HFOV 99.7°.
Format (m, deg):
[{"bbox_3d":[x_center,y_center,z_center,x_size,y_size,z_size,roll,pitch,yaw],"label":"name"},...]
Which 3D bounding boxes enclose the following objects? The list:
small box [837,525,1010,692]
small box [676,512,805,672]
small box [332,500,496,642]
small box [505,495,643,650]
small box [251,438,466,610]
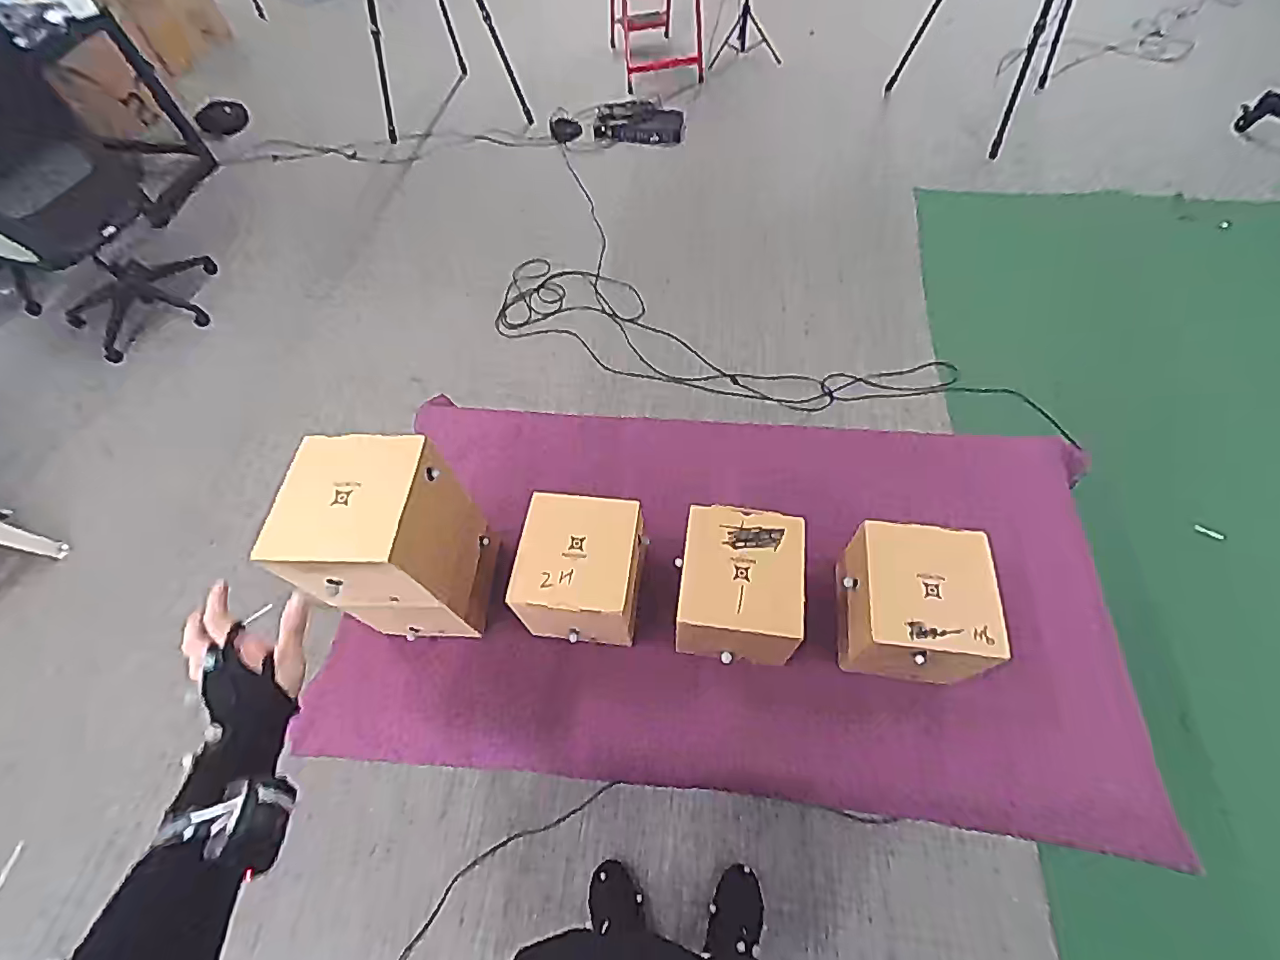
[{"bbox_3d":[0.386,0.187,0.775,0.168,0.176,0.179,6,59,8],"label":"small box"},{"bbox_3d":[0.144,0.170,0.804,0.168,0.176,0.179,6,60,8],"label":"small box"},{"bbox_3d":[-0.338,0.144,0.852,0.168,0.176,0.179,0,59,5],"label":"small box"},{"bbox_3d":[-0.089,0.146,0.834,0.168,0.176,0.179,5,60,7],"label":"small box"},{"bbox_3d":[-0.348,0.064,0.712,0.168,0.176,0.179,0,58,5],"label":"small box"}]
